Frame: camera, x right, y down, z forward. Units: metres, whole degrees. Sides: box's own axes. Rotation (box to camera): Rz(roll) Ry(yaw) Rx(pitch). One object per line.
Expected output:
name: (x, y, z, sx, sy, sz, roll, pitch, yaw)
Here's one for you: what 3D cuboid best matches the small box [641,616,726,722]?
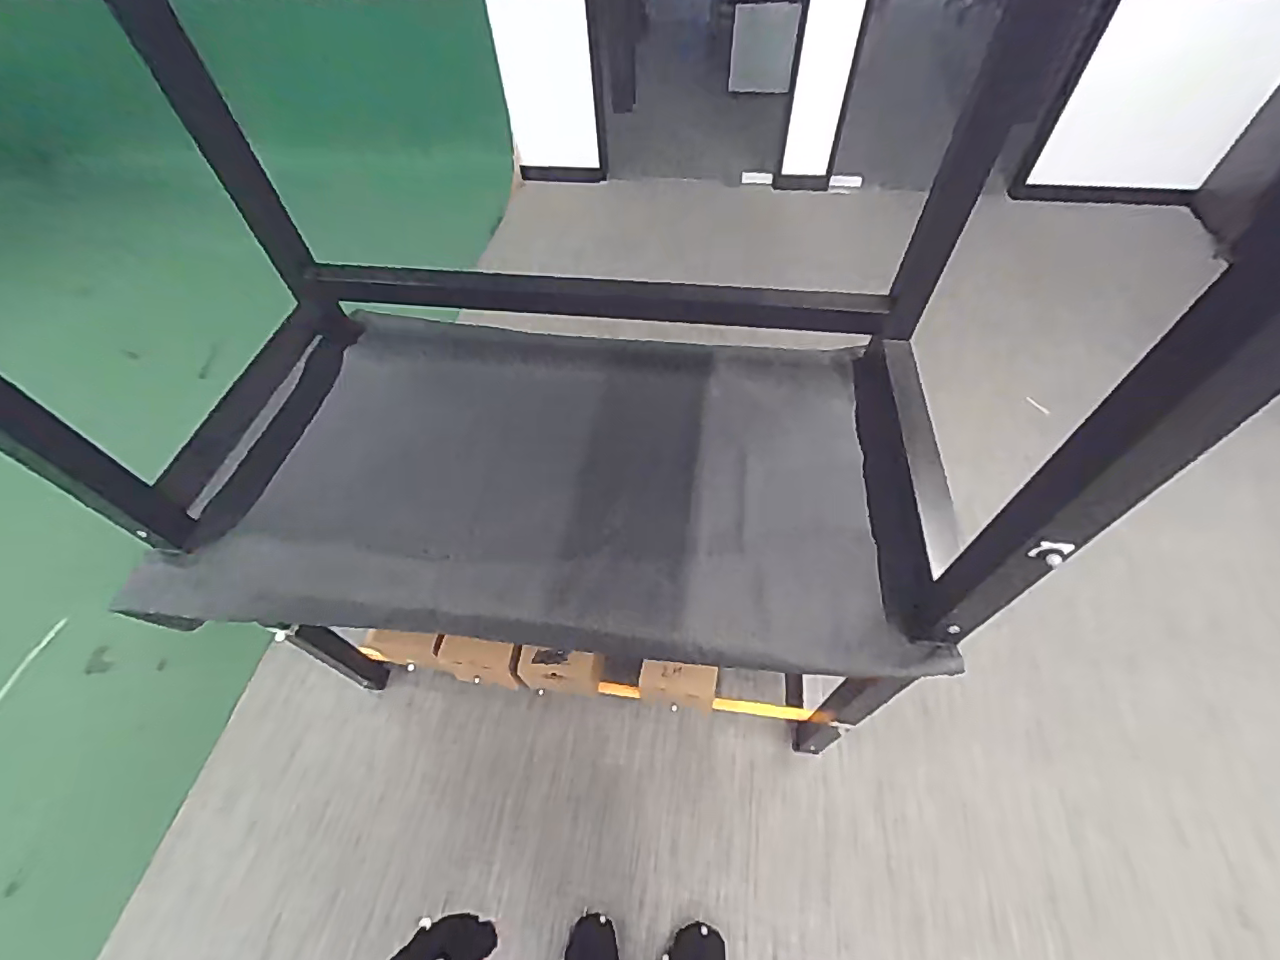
small box: (0.101, 0.445, 1.265, 0.168, 0.176, 0.179, 9, 56, 10)
